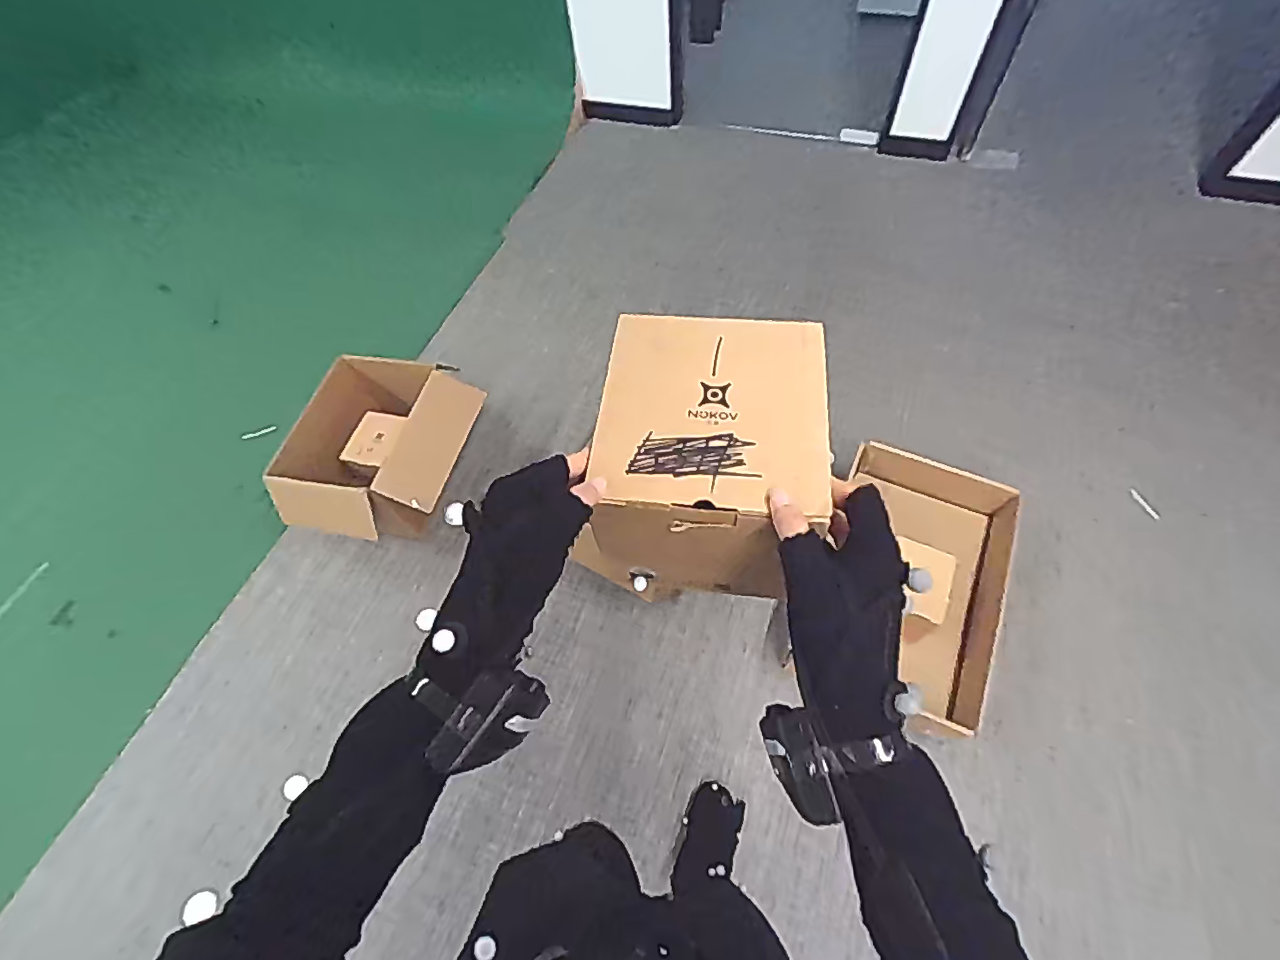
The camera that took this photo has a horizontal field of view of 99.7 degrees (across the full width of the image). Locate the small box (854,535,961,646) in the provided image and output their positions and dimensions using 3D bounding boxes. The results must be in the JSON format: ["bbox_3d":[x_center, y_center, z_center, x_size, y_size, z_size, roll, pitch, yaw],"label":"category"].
[{"bbox_3d":[0.625,0.264,1.279,0.168,0.176,0.179,21,64,16],"label":"small box"}]

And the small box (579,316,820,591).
[{"bbox_3d":[0.055,-0.016,0.469,0.168,0.176,0.179,5,59,7],"label":"small box"}]
